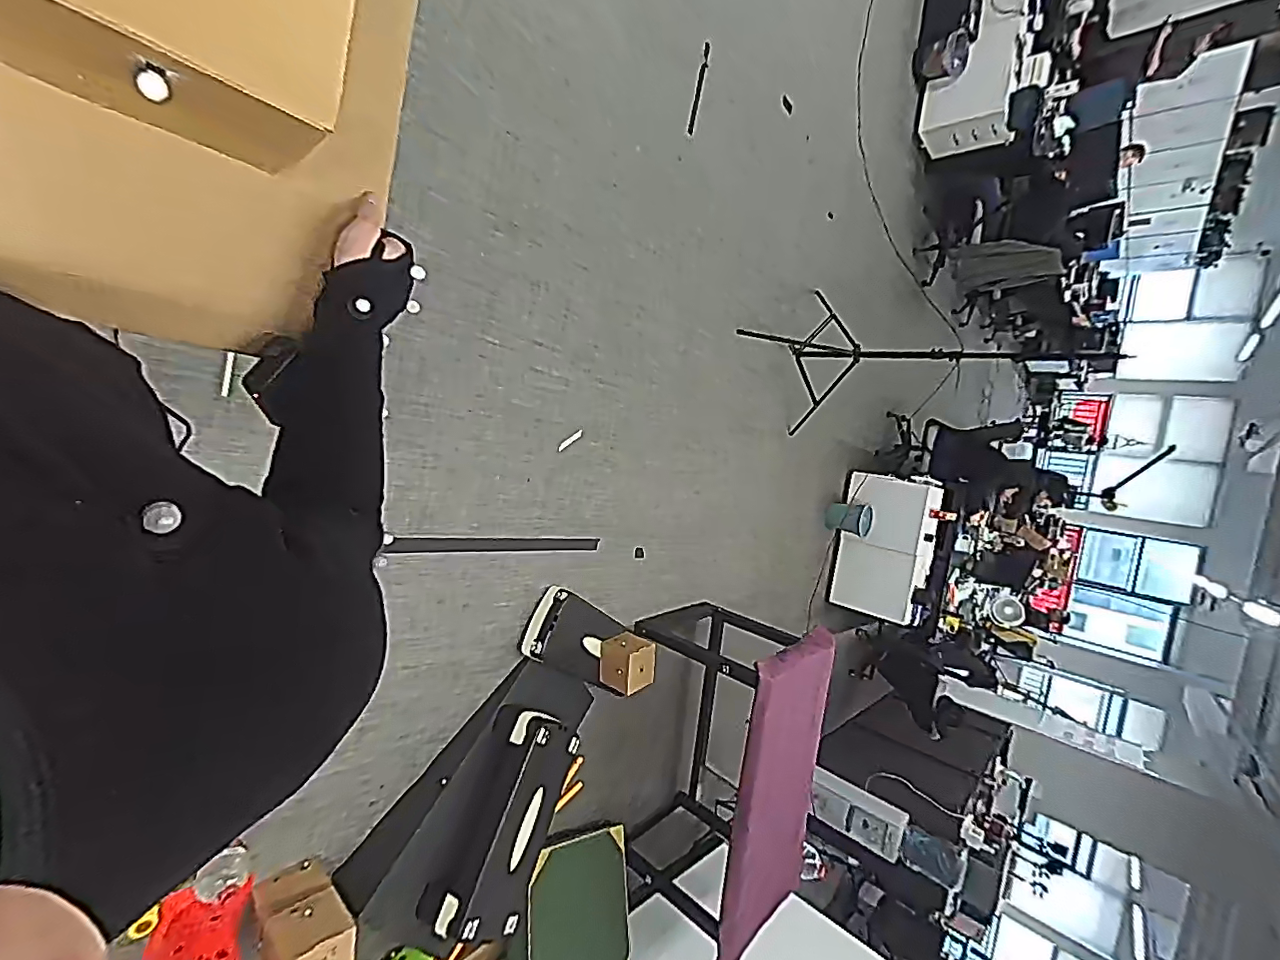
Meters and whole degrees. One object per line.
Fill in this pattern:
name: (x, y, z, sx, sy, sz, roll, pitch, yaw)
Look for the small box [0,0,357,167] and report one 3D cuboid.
small box: (-0.325, -0.354, 0.389, 0.179, 0.176, 0.168, 7, 97, -44)
